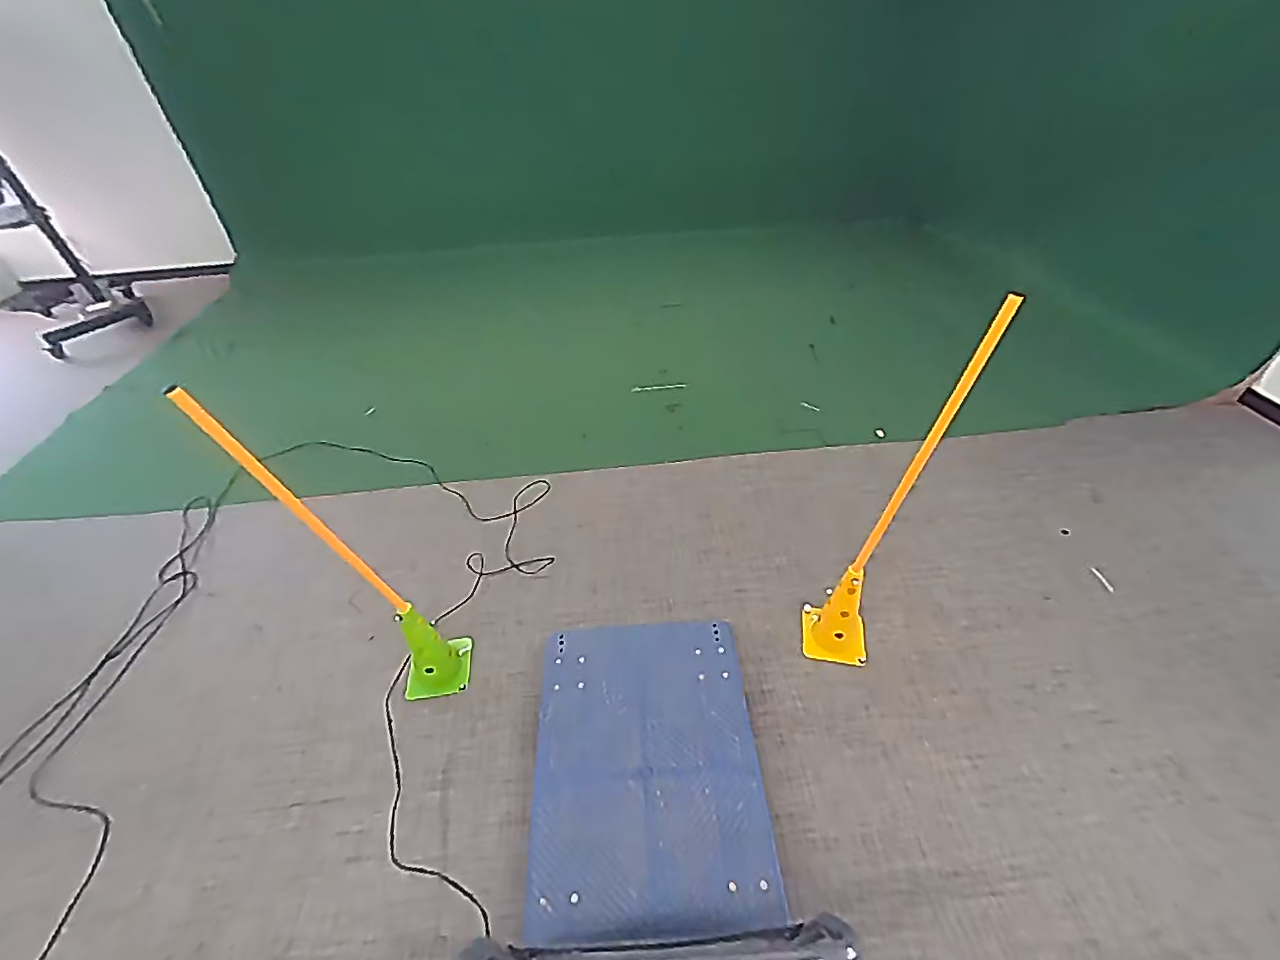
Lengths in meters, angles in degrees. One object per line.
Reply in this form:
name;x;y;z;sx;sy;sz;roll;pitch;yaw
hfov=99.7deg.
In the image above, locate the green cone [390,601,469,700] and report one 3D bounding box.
green cone;-0.687;0.495;1.685;0.202;0.368;0.200;-9;42;-4
